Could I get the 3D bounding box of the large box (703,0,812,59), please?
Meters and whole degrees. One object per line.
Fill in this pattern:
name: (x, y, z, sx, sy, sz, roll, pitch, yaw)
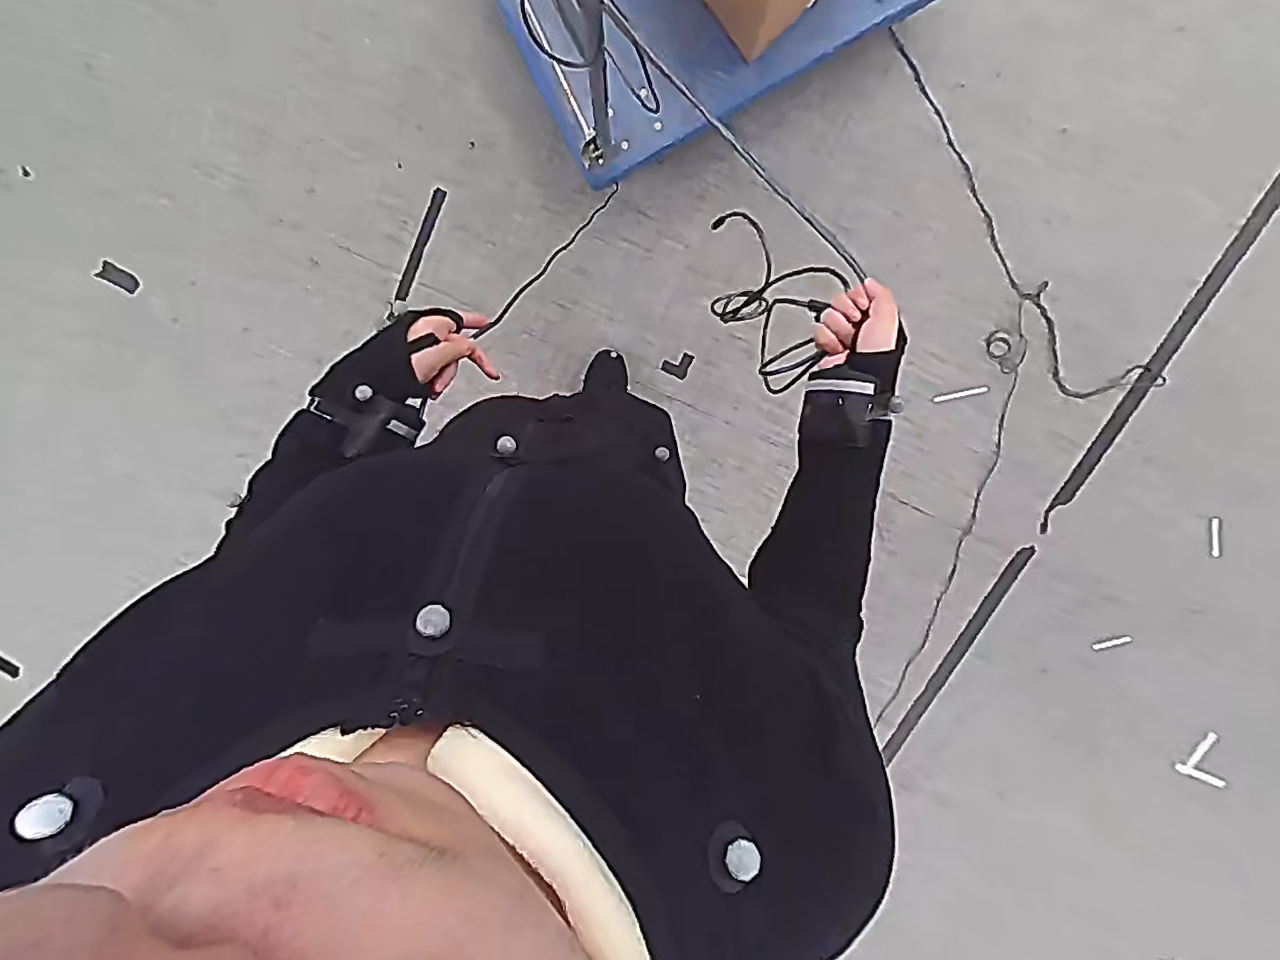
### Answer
large box: (0.202, -1.064, 0.911, 0.320, 0.320, 0.408, -41, 100, 10)
